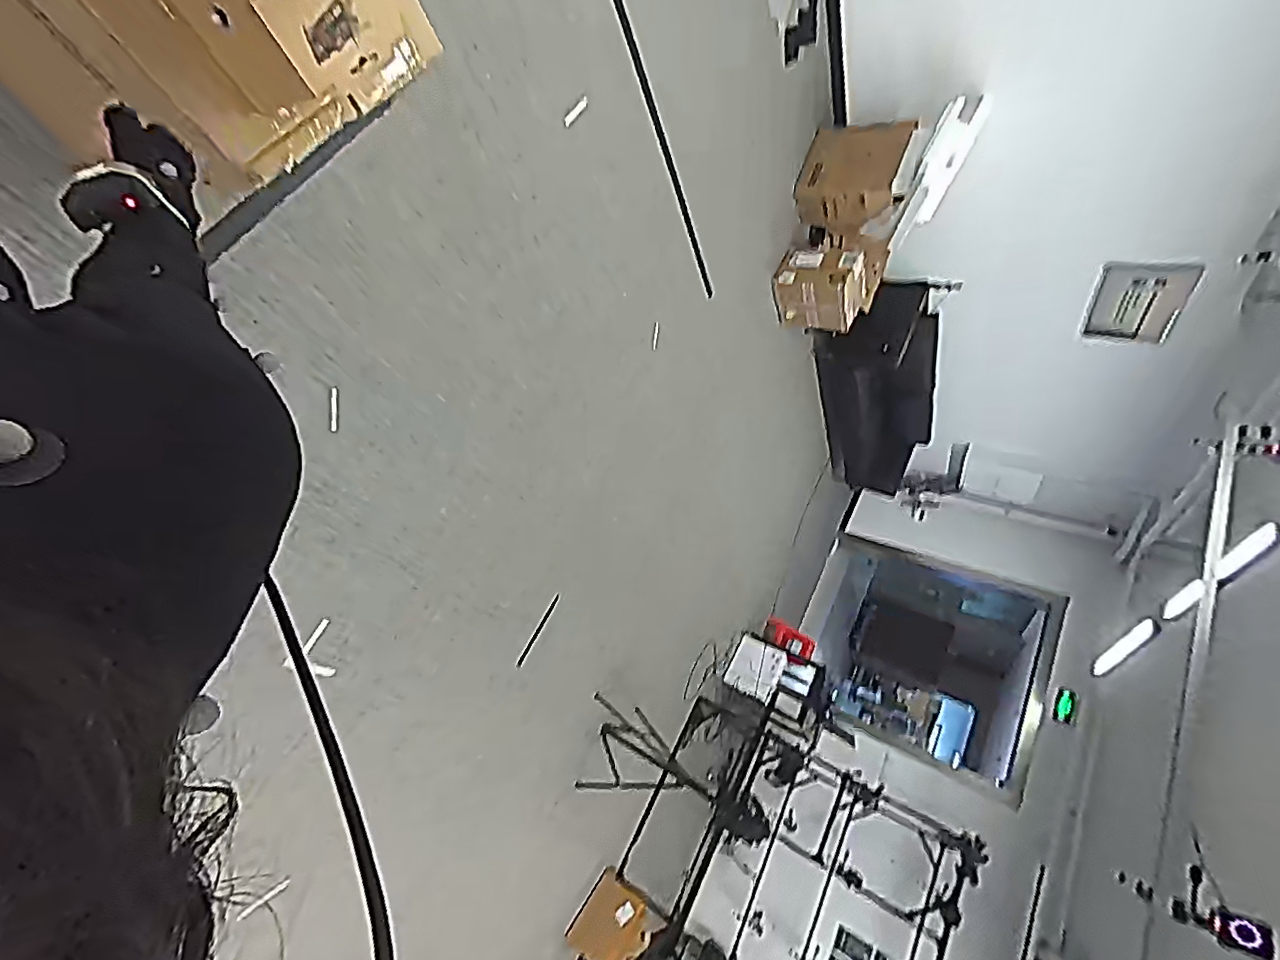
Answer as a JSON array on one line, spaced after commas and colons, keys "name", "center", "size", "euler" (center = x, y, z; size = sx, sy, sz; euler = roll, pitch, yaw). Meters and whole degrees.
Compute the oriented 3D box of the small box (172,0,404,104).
[{"name": "small box", "center": [-0.434, -0.582, 0.646], "size": [0.168, 0.176, 0.179], "euler": [-56, 143, -23]}]
